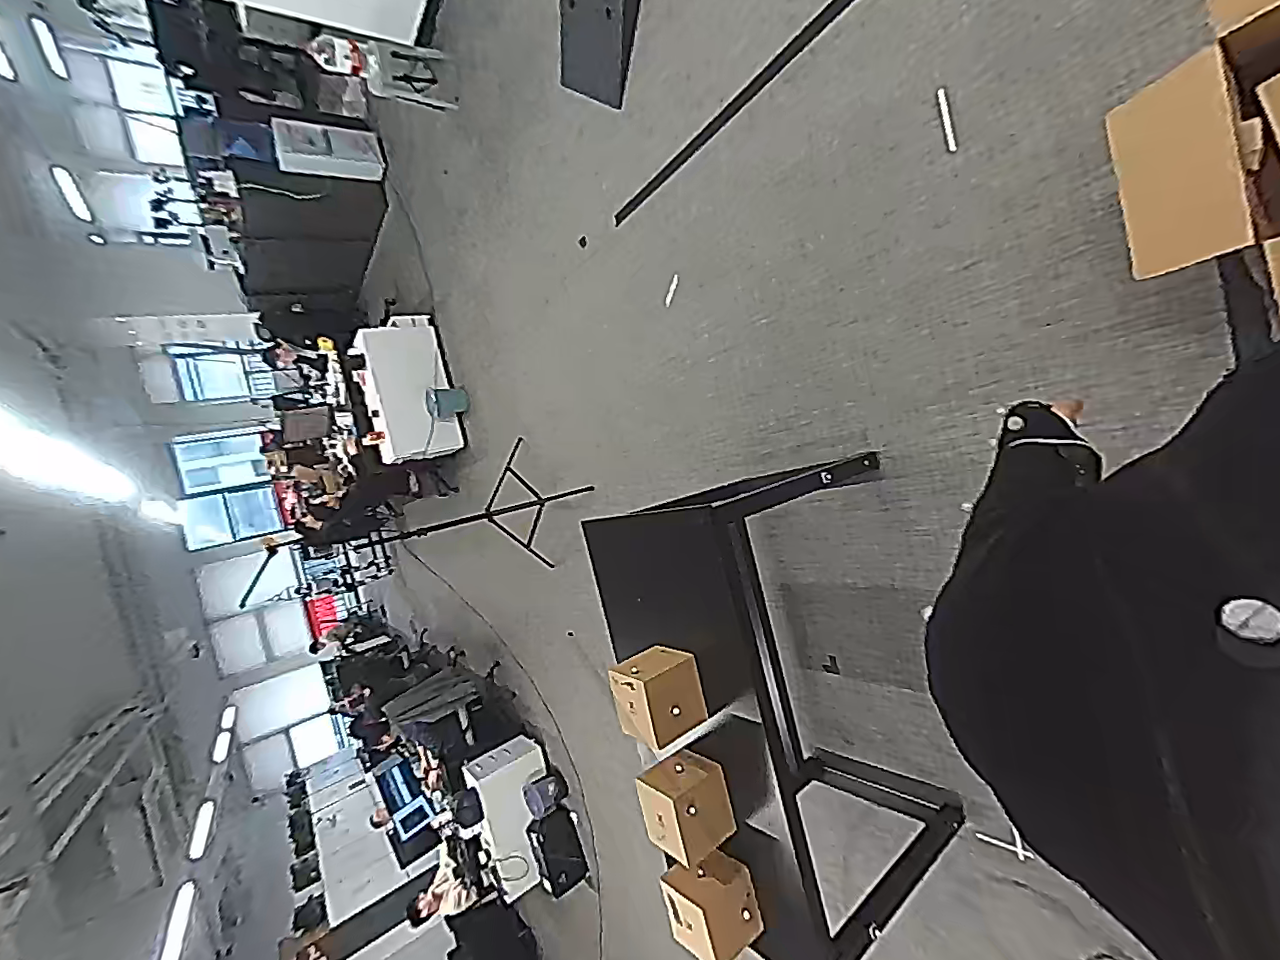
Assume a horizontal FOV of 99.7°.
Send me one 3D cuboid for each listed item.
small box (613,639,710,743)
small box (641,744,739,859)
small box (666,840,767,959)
[{"bbox_3d":[0.059,0.539,1.405,0.168,0.176,0.179,-10,95,55],"label":"small box"},{"bbox_3d":[0.131,0.823,1.409,0.168,0.176,0.179,-13,91,56],"label":"small box"},{"bbox_3d":[0.199,1.081,1.413,0.179,0.176,0.168,-16,89,55],"label":"small box"}]
